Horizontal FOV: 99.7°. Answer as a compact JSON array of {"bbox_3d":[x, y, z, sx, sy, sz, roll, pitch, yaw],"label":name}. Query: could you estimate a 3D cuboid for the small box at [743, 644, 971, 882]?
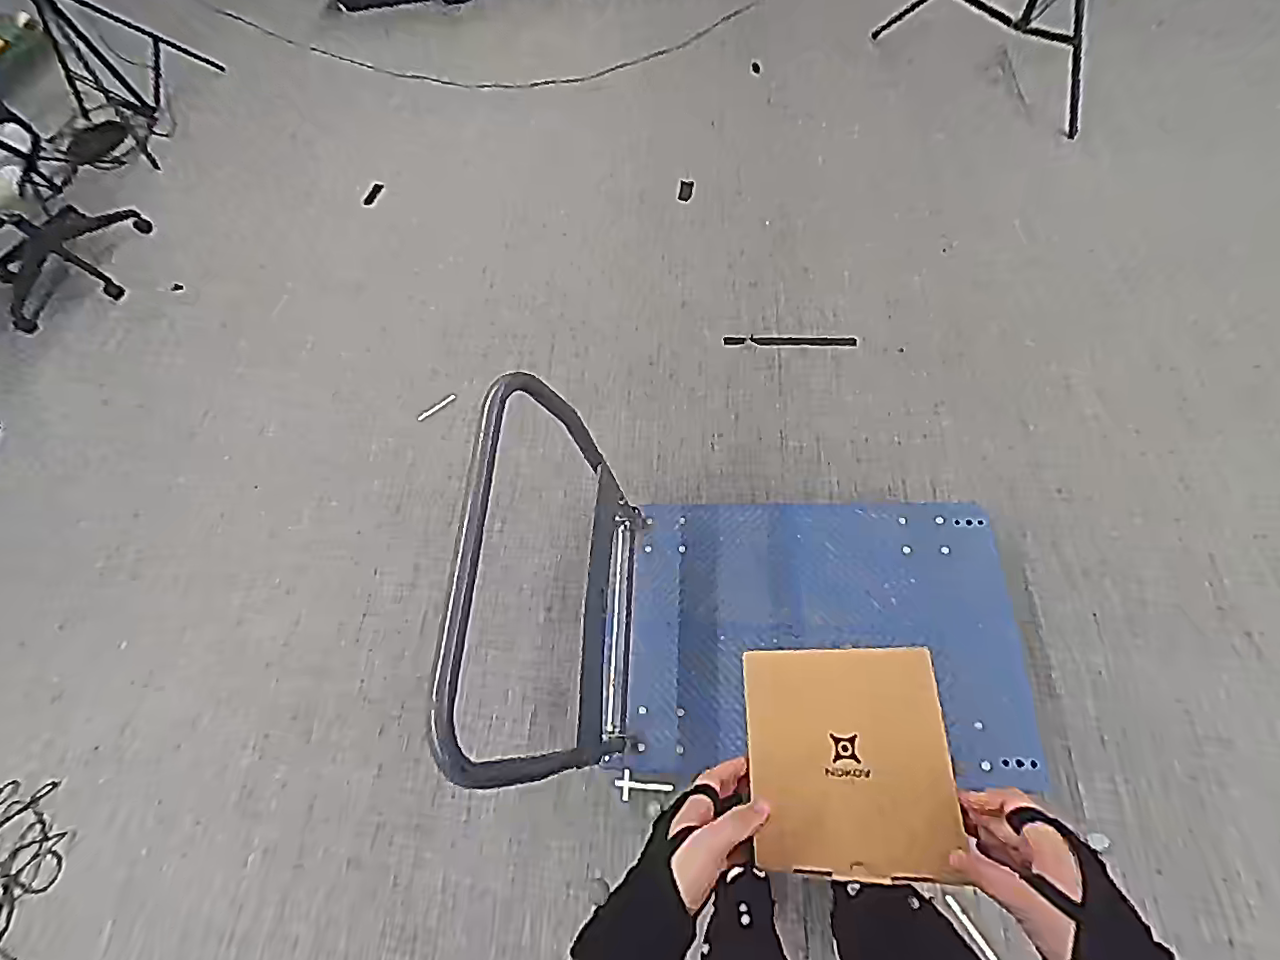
[{"bbox_3d":[0.193,0.265,0.532,0.168,0.176,0.179,-6,65,13],"label":"small box"}]
